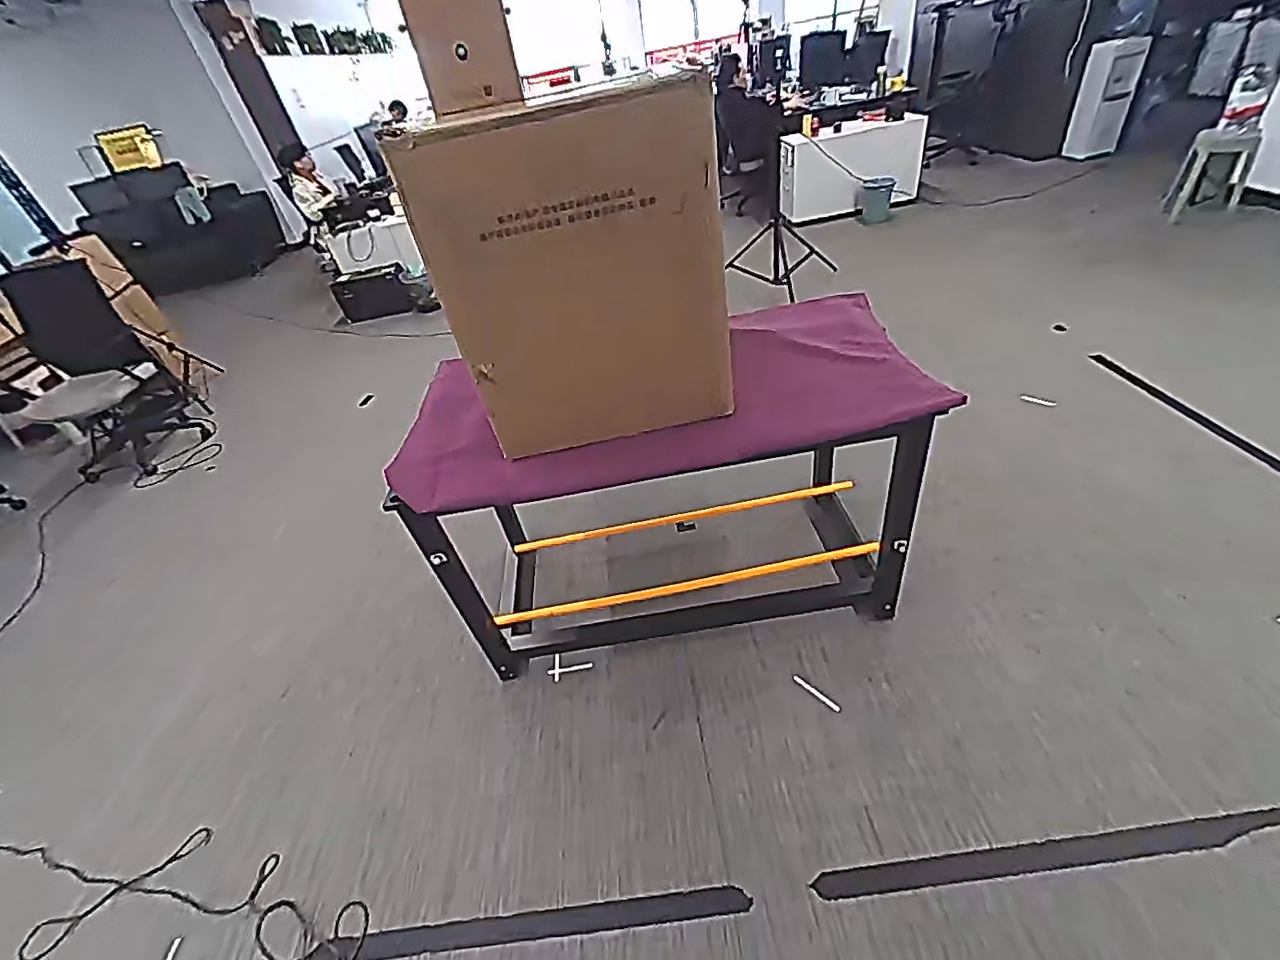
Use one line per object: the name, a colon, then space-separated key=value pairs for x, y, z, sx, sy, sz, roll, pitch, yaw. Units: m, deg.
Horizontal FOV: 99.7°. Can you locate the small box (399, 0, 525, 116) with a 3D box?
small box: x=-0.312 y=-0.773 z=0.978 sx=0.168 sy=0.176 sz=0.179 roll=-14 pitch=39 yaw=-5
